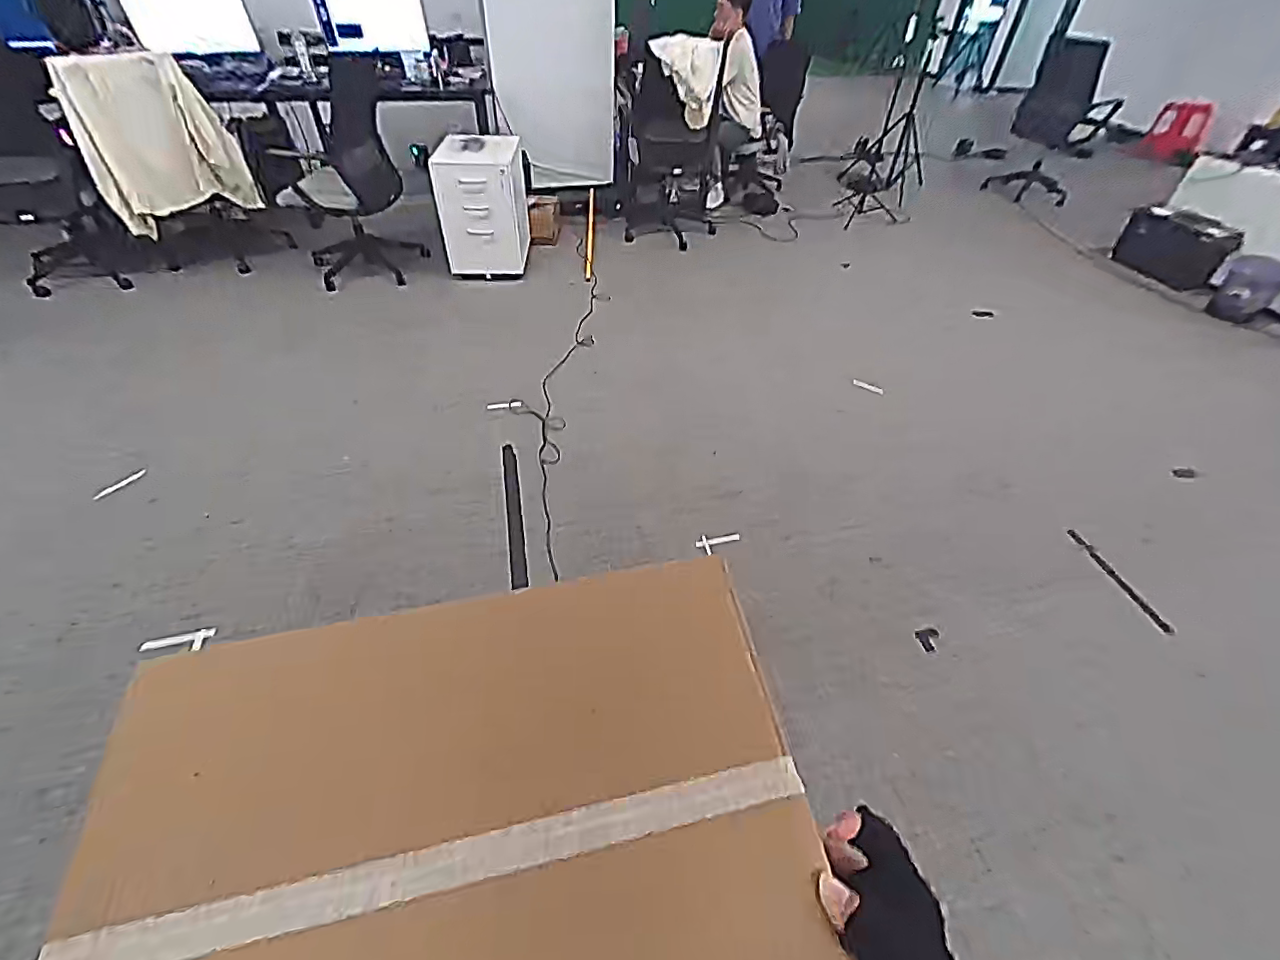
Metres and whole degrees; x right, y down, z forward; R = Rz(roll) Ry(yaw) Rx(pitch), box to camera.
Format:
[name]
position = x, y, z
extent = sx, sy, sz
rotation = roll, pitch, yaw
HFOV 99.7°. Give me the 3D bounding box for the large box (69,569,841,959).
[large box]
position = -0.107, 0.310, 0.431
extent = 0.408, 0.320, 0.320
rotation = -10, 54, -8
